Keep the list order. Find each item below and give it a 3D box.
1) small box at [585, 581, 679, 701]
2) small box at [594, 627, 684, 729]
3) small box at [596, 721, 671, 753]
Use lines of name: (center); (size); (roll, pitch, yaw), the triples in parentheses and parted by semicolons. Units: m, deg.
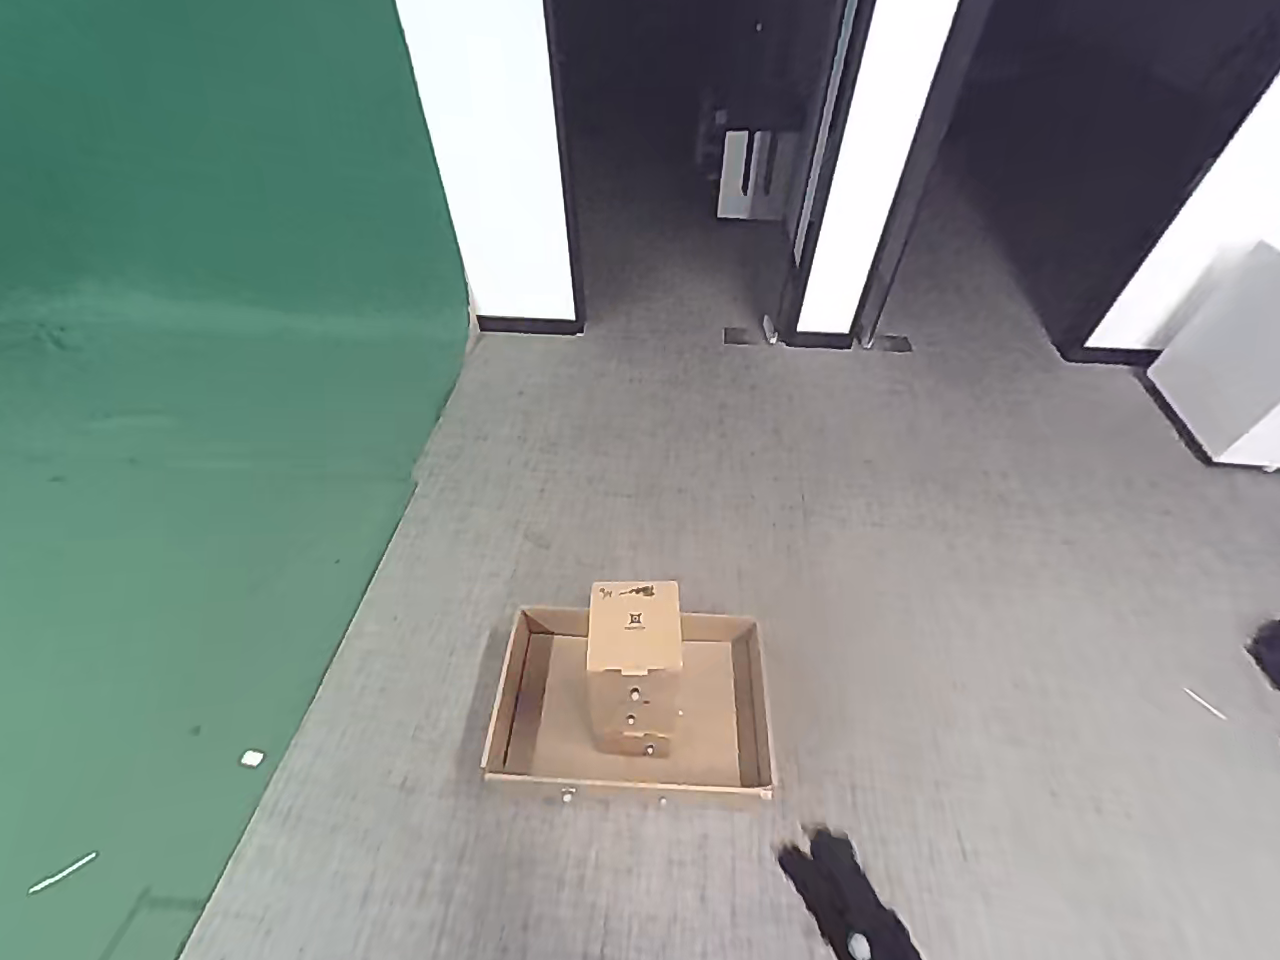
small box: (-0.010, 0.311, 1.033); (0.168, 0.176, 0.179); (0, 49, 1)
small box: (-0.005, 0.421, 1.154); (0.179, 0.176, 0.168); (0, 49, -1)
small box: (-0.006, 0.528, 1.277); (0.168, 0.176, 0.179); (3, 47, 3)
